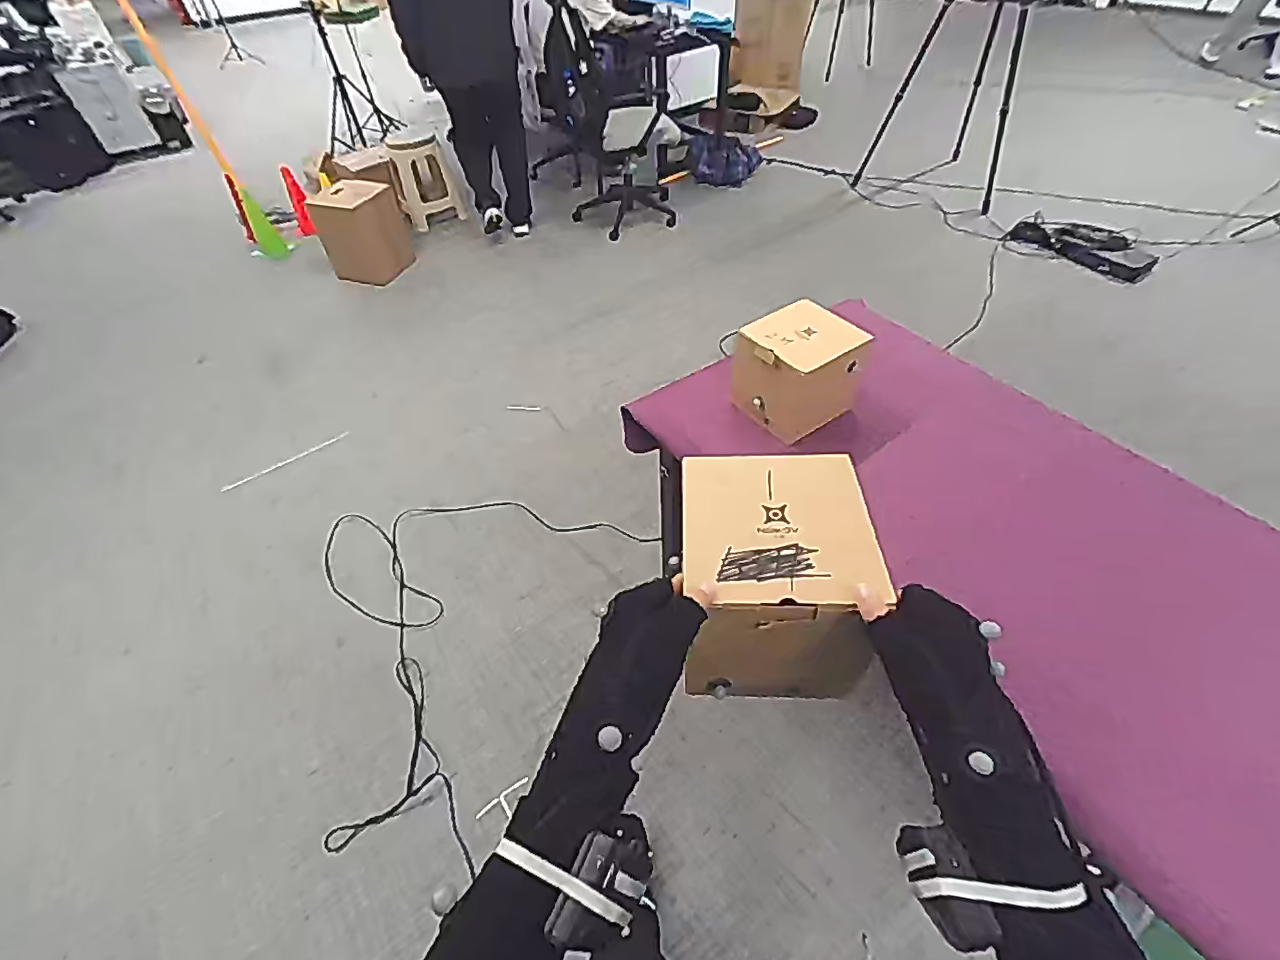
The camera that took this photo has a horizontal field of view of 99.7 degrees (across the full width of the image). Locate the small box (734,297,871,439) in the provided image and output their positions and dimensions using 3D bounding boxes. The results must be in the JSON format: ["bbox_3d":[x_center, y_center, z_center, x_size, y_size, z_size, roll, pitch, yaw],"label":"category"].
[{"bbox_3d":[0.294,-0.210,1.023,0.179,0.176,0.168,-29,53,-20],"label":"small box"}]

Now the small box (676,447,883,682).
[{"bbox_3d":[0.123,0.087,0.544,0.168,0.176,0.179,-1,44,5],"label":"small box"}]
